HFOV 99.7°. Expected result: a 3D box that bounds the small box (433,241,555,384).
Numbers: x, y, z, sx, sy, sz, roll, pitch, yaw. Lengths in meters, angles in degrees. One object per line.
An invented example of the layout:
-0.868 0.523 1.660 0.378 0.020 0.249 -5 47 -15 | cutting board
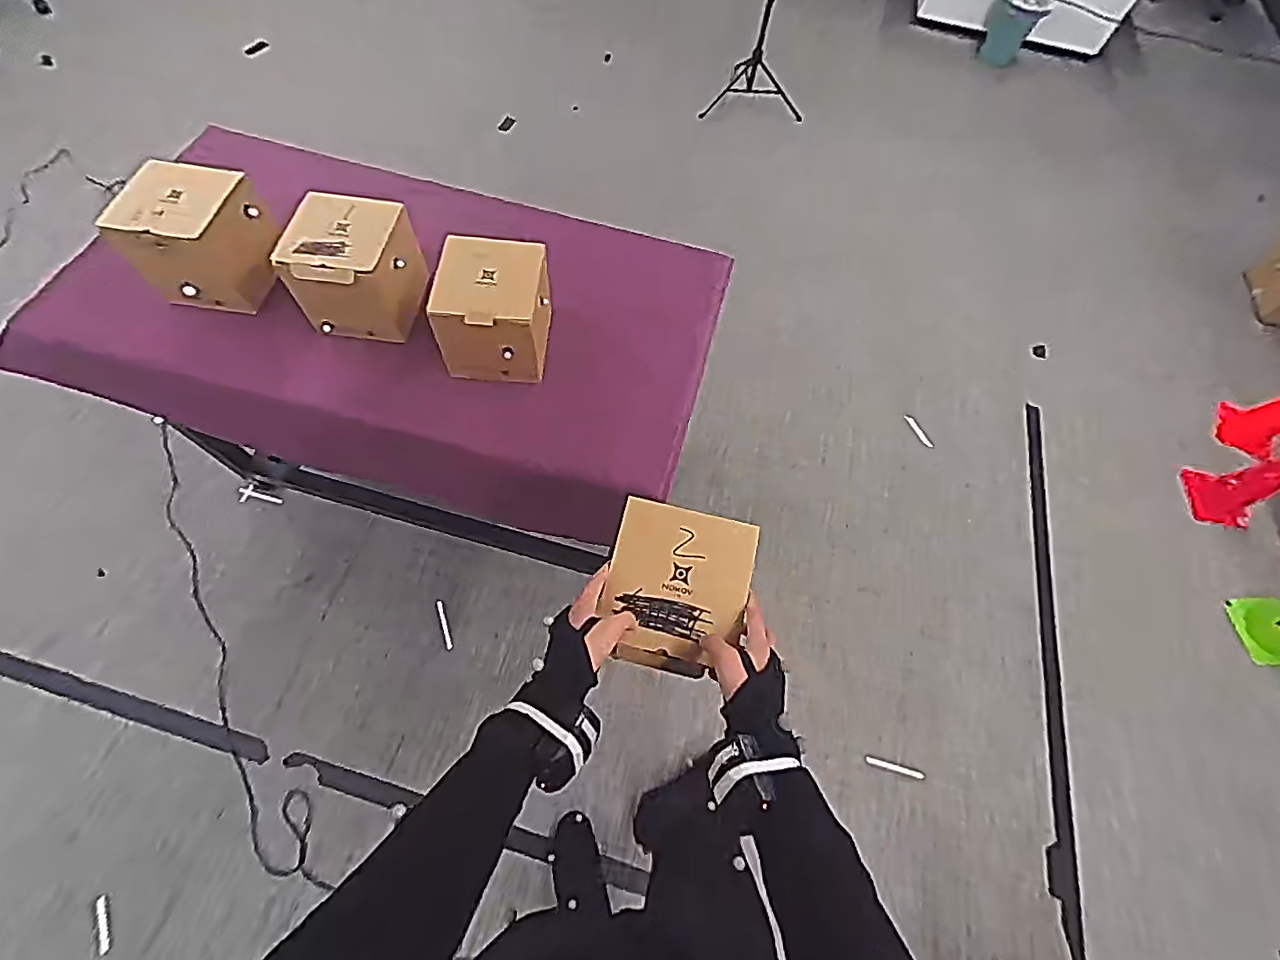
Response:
-0.245 -0.289 0.959 0.168 0.176 0.179 5 63 -3 | small box

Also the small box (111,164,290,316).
-0.771 -0.430 0.981 0.168 0.176 0.179 8 64 0 | small box

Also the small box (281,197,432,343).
-0.494 -0.372 0.977 0.168 0.176 0.179 7 63 -1 | small box
